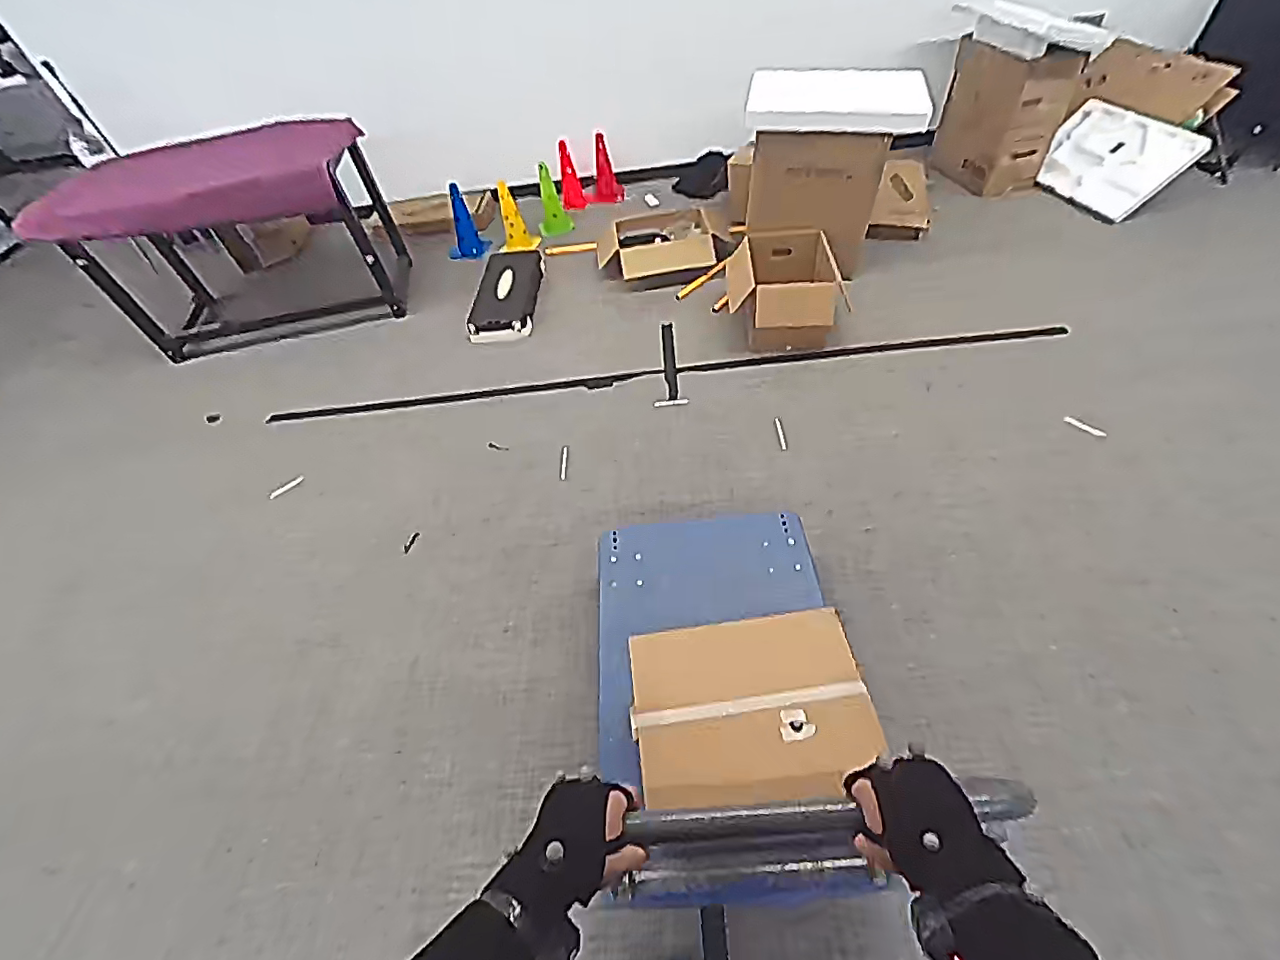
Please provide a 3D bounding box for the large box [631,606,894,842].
[{"bbox_3d":[0.207,0.488,1.072,0.408,0.320,0.320,-8,51,-1],"label":"large box"}]
